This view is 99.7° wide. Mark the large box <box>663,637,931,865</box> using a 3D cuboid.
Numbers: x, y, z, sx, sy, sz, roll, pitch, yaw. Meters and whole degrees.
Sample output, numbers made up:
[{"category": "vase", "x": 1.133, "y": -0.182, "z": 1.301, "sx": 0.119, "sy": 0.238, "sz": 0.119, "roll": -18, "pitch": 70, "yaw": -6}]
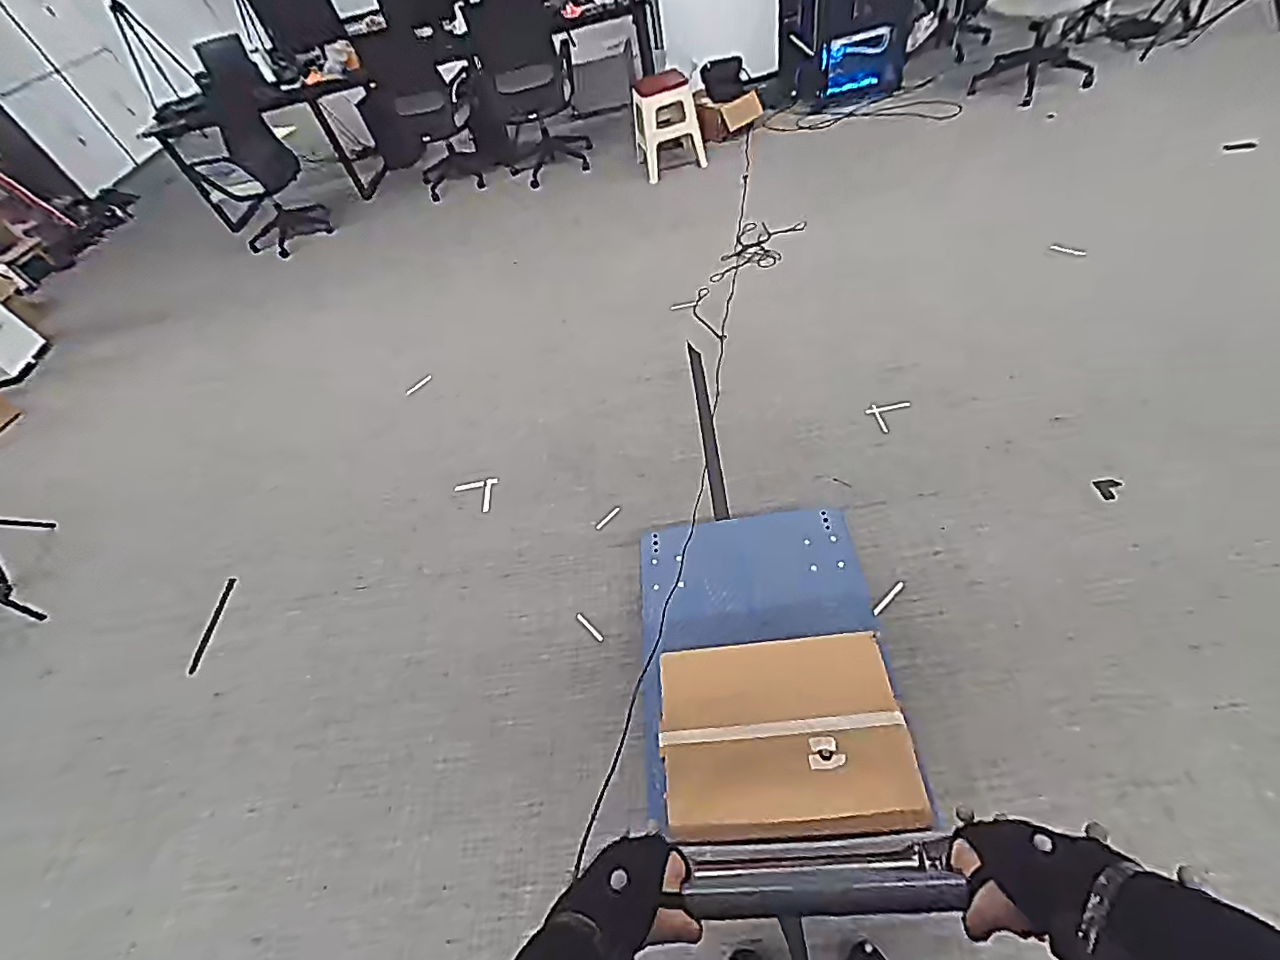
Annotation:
[{"category": "large box", "x": 0.272, "y": 0.535, "z": 1.053, "sx": 0.408, "sy": 0.320, "sz": 0.320, "roll": -8, "pitch": 50, "yaw": 7}]
